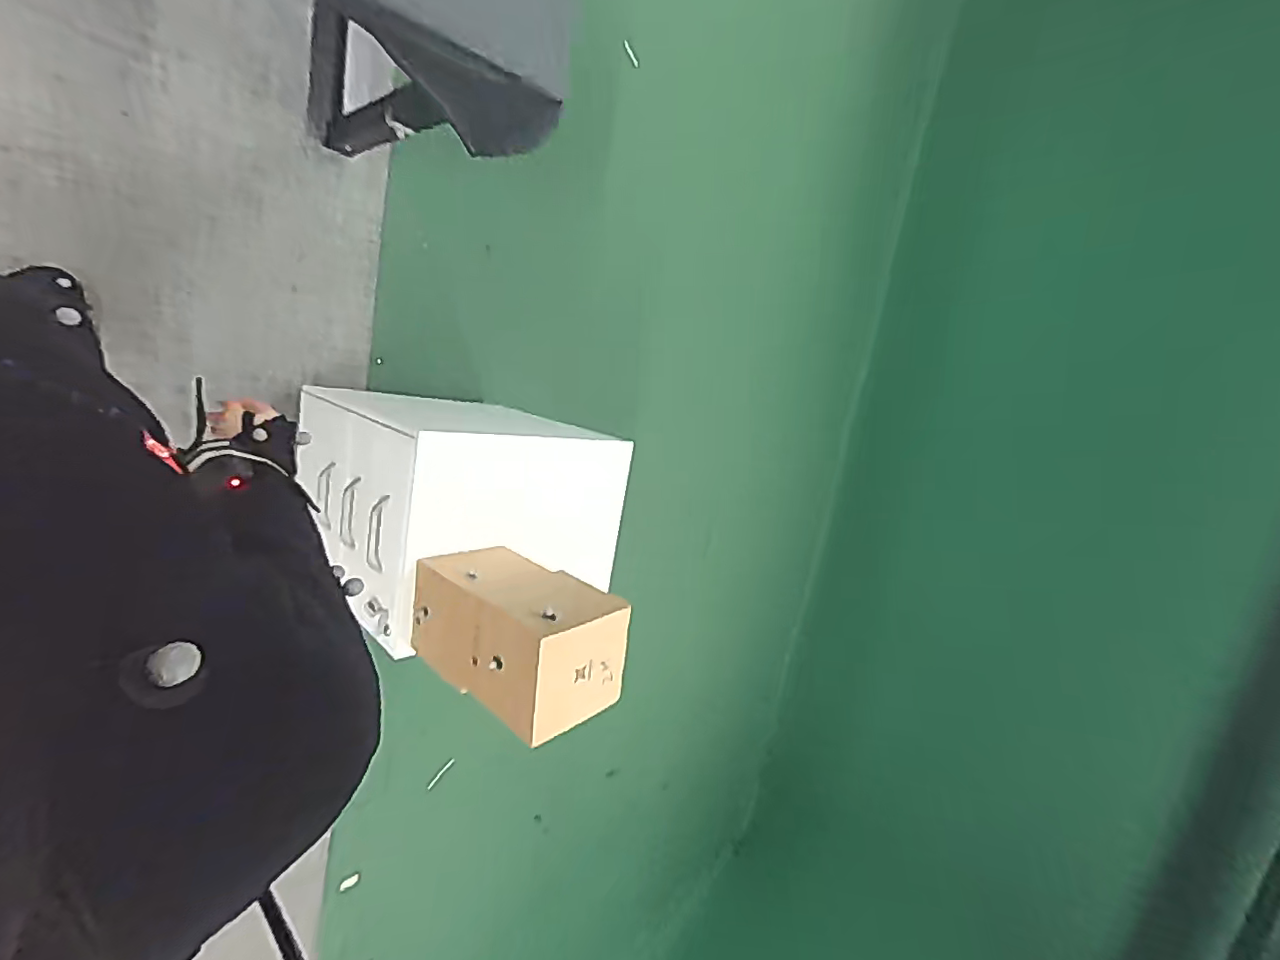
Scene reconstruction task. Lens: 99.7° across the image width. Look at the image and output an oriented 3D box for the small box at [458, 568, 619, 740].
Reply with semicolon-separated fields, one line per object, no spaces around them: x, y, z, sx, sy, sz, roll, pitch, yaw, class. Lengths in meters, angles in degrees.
-0.158;0.250;0.826;0.179;0.176;0.168;-7;110;-49;small box
